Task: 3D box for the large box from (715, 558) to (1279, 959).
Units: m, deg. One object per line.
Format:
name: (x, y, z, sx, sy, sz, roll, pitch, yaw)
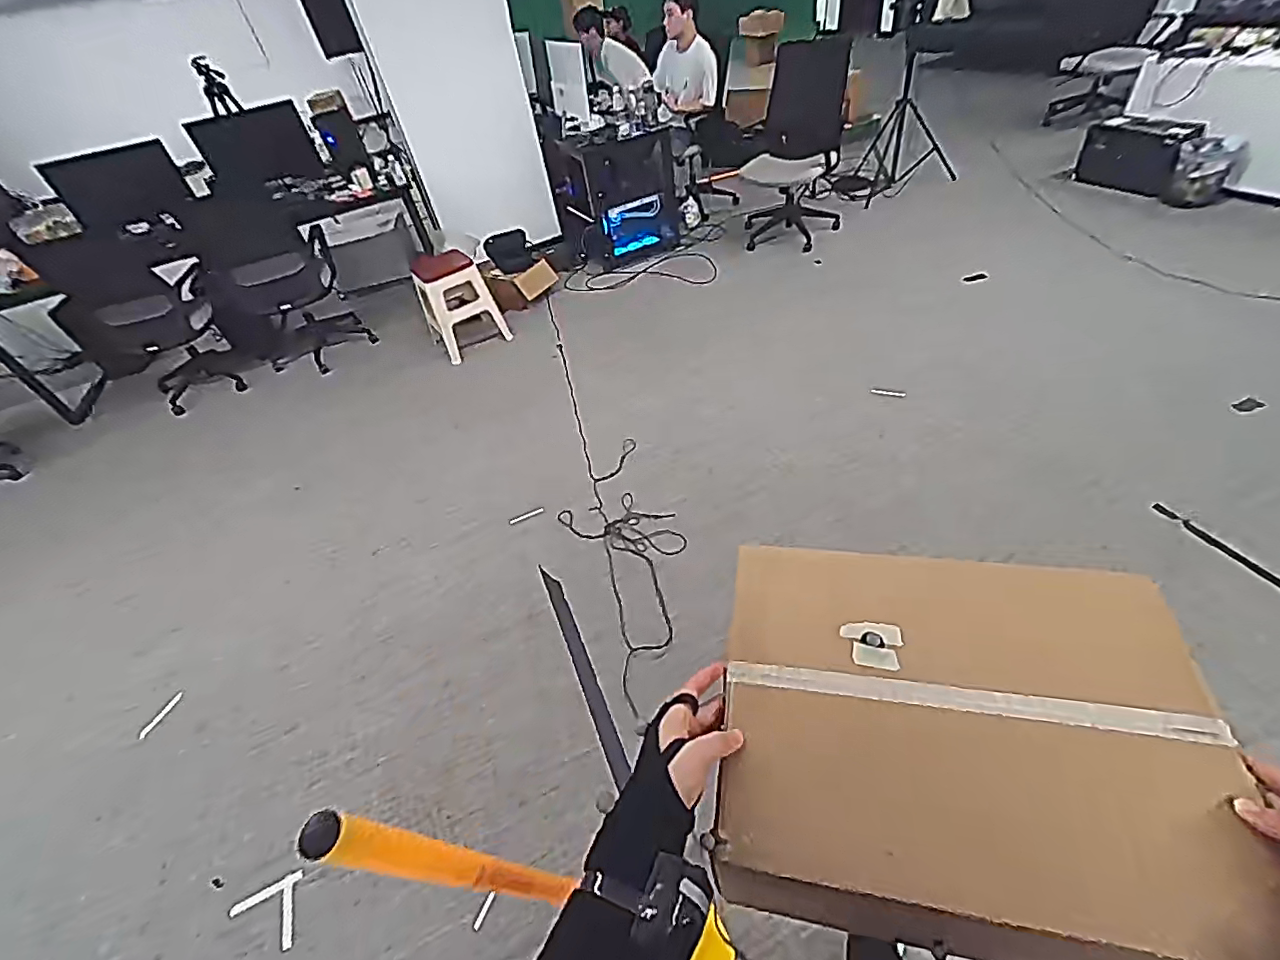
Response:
large box: (0.303, 0.310, 0.609, 0.408, 0.320, 0.320, 2, 46, 13)
